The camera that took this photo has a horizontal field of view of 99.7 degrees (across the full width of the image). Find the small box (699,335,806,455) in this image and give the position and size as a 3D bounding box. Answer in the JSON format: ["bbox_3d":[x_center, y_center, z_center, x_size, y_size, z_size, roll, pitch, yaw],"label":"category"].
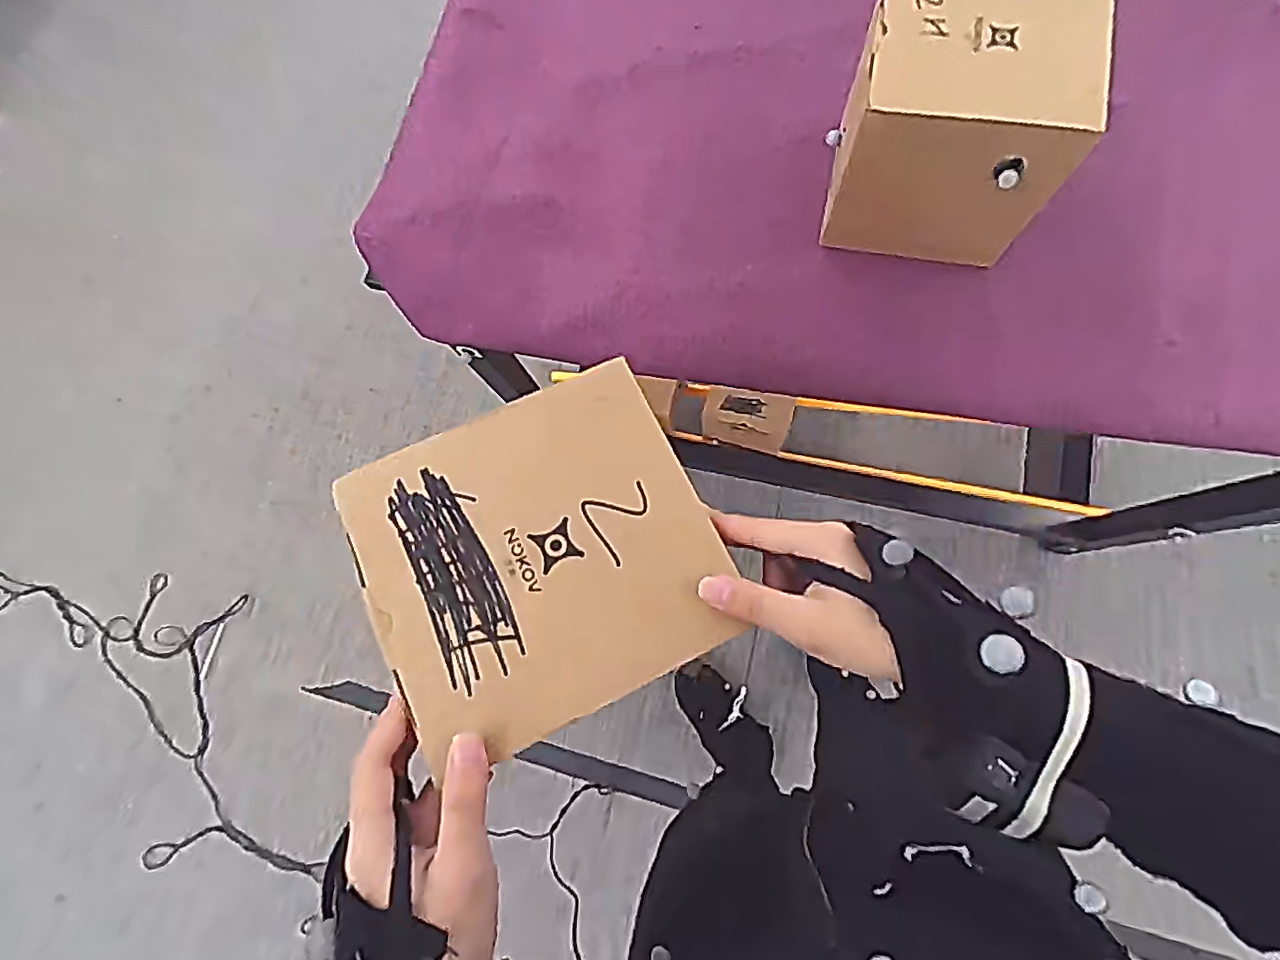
[{"bbox_3d":[0.226,-0.166,1.117,0.168,0.176,0.179,18,80,9],"label":"small box"}]

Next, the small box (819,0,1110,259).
[{"bbox_3d":[0.286,-0.335,0.509,0.179,0.176,0.168,12,77,9],"label":"small box"}]
